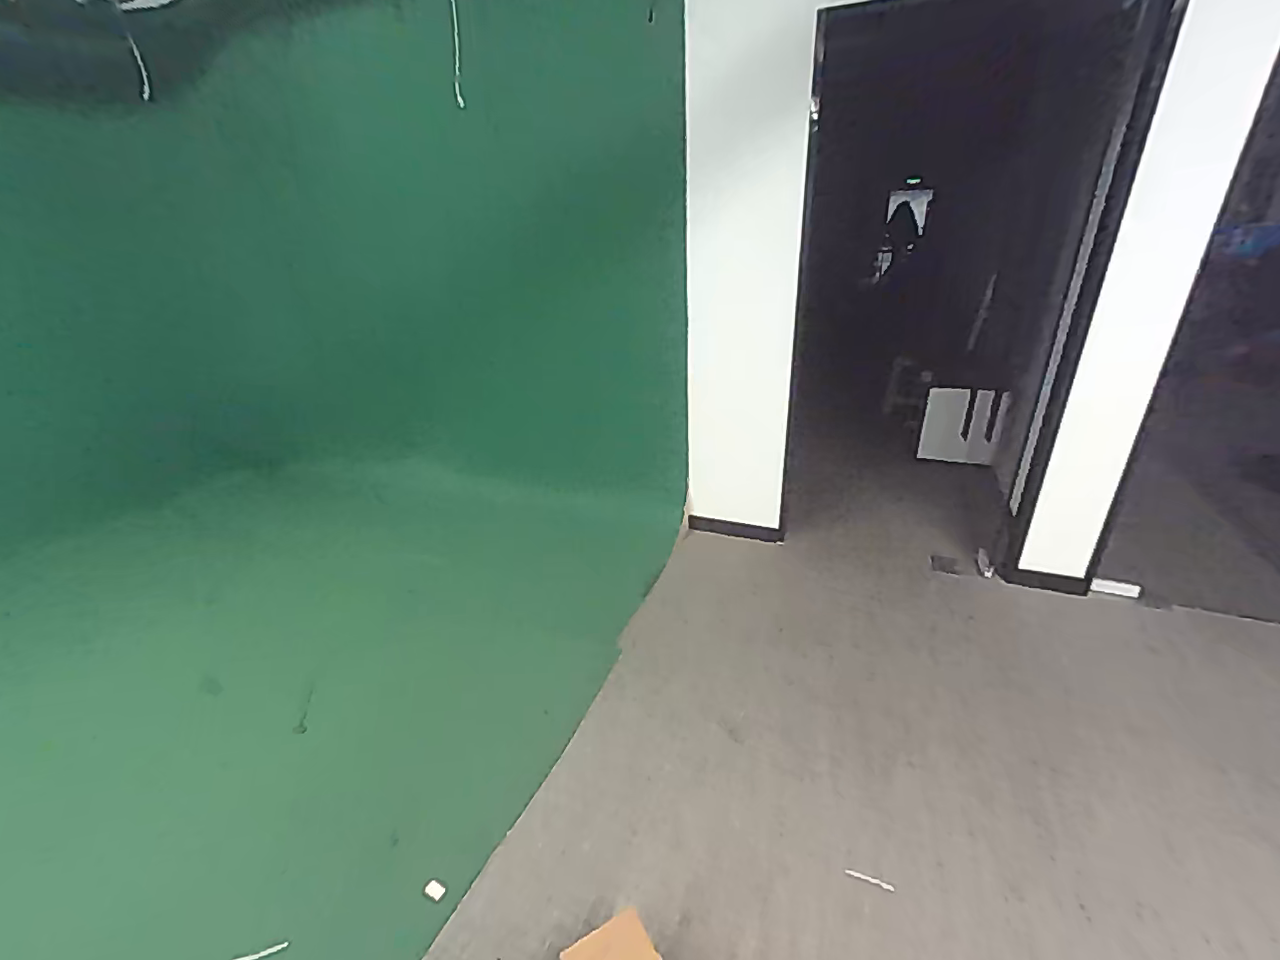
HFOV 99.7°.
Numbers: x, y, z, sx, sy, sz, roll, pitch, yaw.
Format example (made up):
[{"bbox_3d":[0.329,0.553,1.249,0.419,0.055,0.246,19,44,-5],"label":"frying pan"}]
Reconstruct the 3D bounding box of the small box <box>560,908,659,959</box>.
[{"bbox_3d":[-0.039,0.996,1.037,0.168,0.176,0.179,-15,26,-26],"label":"small box"}]
